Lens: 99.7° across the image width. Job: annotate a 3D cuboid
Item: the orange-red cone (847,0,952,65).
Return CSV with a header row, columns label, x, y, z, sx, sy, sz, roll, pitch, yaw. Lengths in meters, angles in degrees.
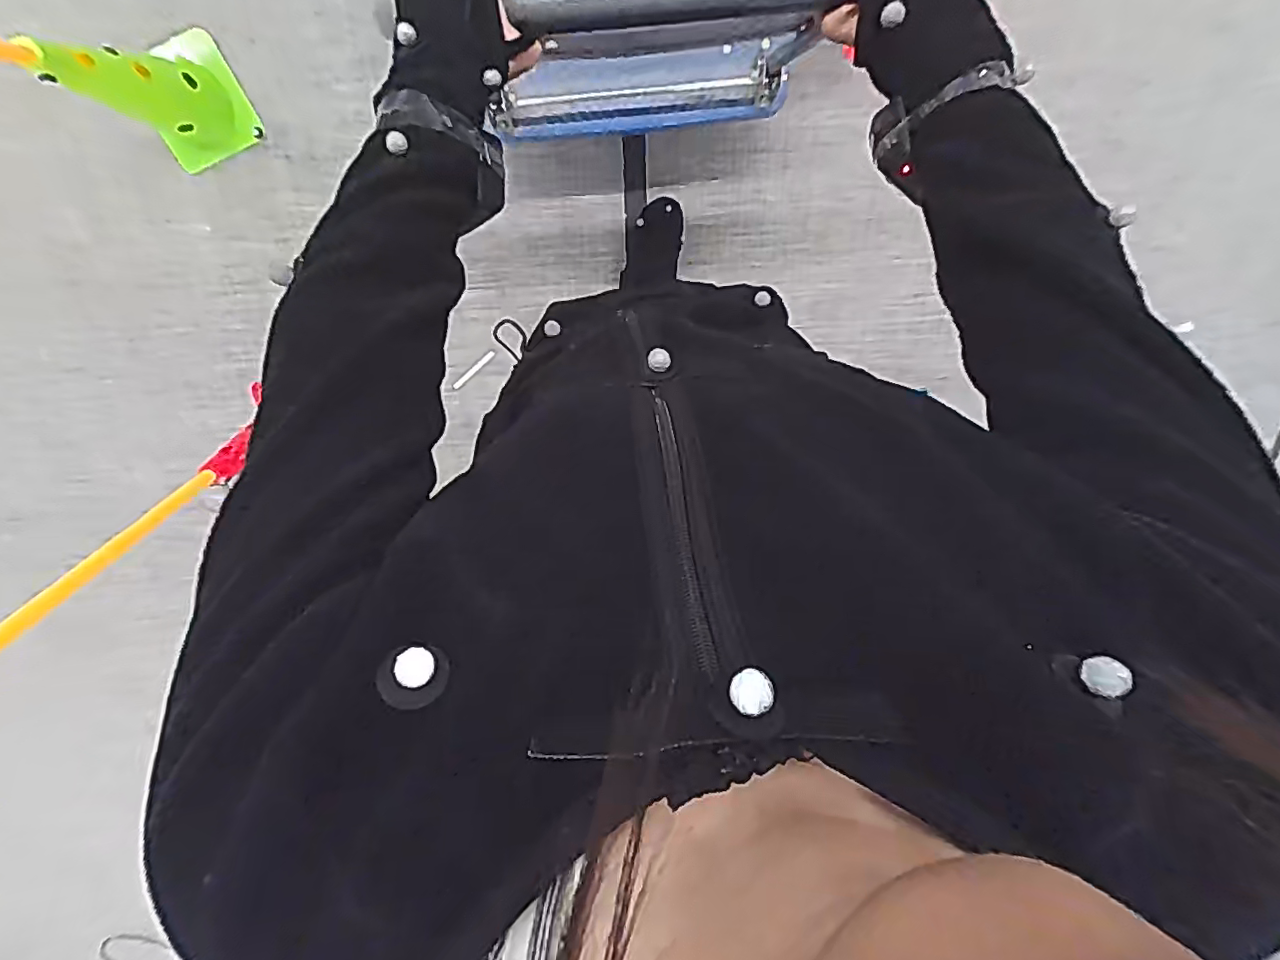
label,x,y,z,sx,sy,sz,roll,pitch,yaw
orange-red cone,0.539,-0.886,0.926,0.199,0.360,0.198,2,115,-6
